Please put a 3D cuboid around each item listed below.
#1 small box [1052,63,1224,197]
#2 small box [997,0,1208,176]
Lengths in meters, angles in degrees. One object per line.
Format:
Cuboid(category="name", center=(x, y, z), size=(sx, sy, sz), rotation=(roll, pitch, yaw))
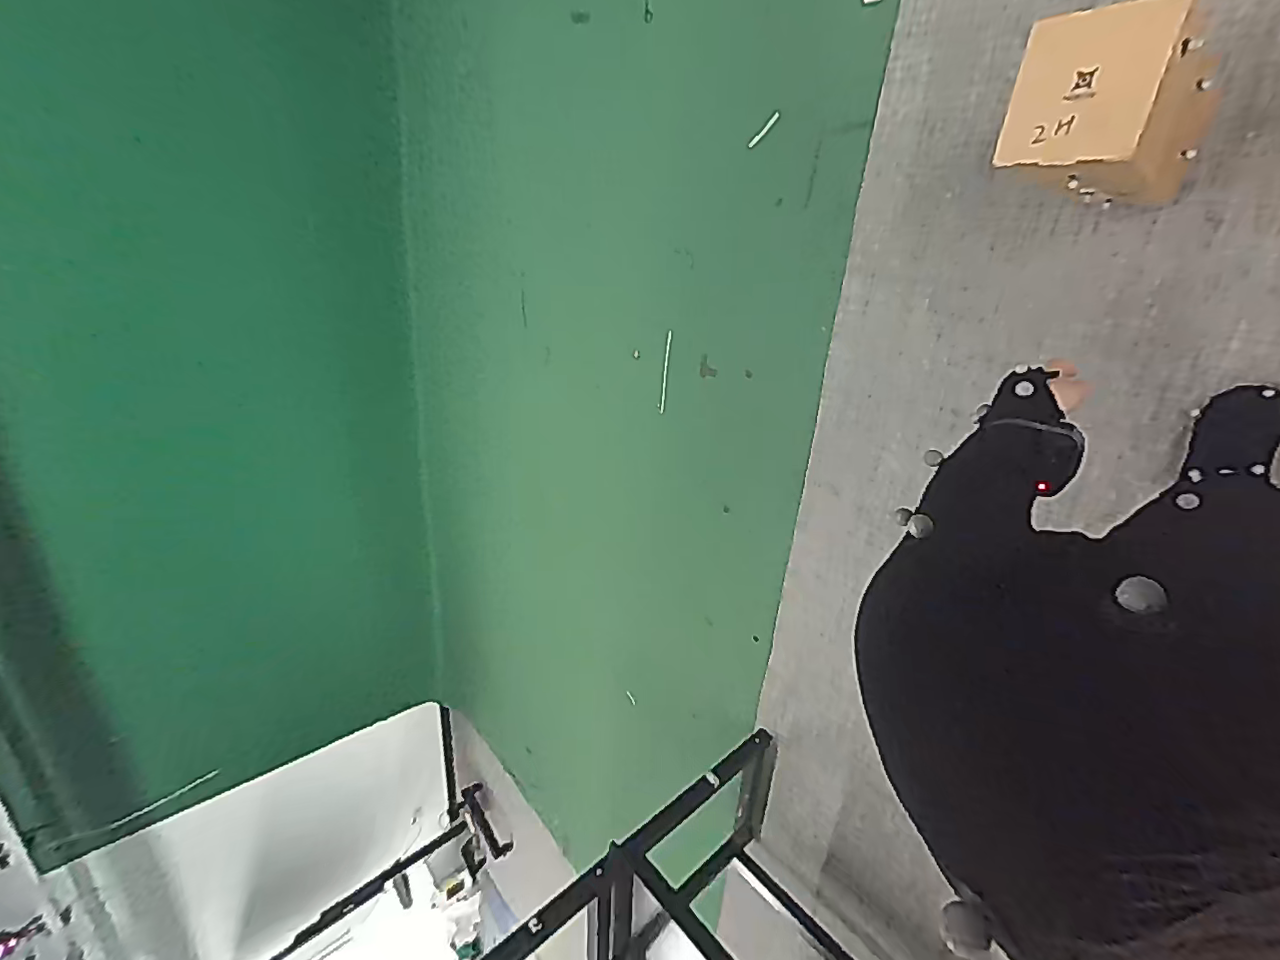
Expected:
Cuboid(category="small box", center=(0.884, -0.610, 0.960), size=(0.168, 0.176, 0.179), rotation=(31, 124, 41))
Cuboid(category="small box", center=(0.641, -0.539, 0.752), size=(0.168, 0.176, 0.179), rotation=(28, 122, 44))
